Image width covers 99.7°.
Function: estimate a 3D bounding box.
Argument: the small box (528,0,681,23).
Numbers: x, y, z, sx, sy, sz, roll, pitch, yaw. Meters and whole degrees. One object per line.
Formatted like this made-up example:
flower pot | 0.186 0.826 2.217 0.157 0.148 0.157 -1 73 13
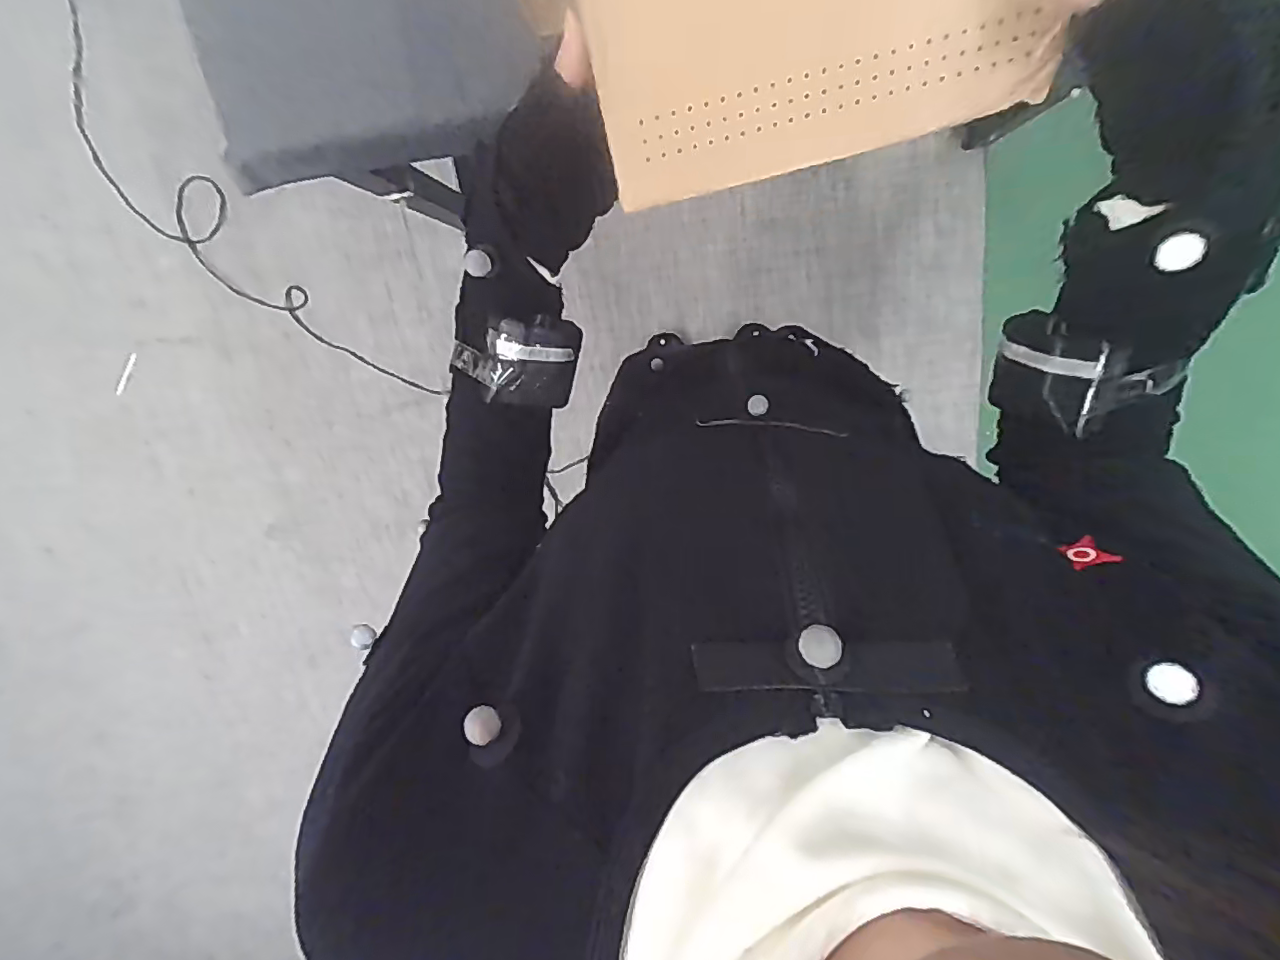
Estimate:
small box | -0.039 -0.540 0.465 0.179 0.176 0.168 -5 104 6
